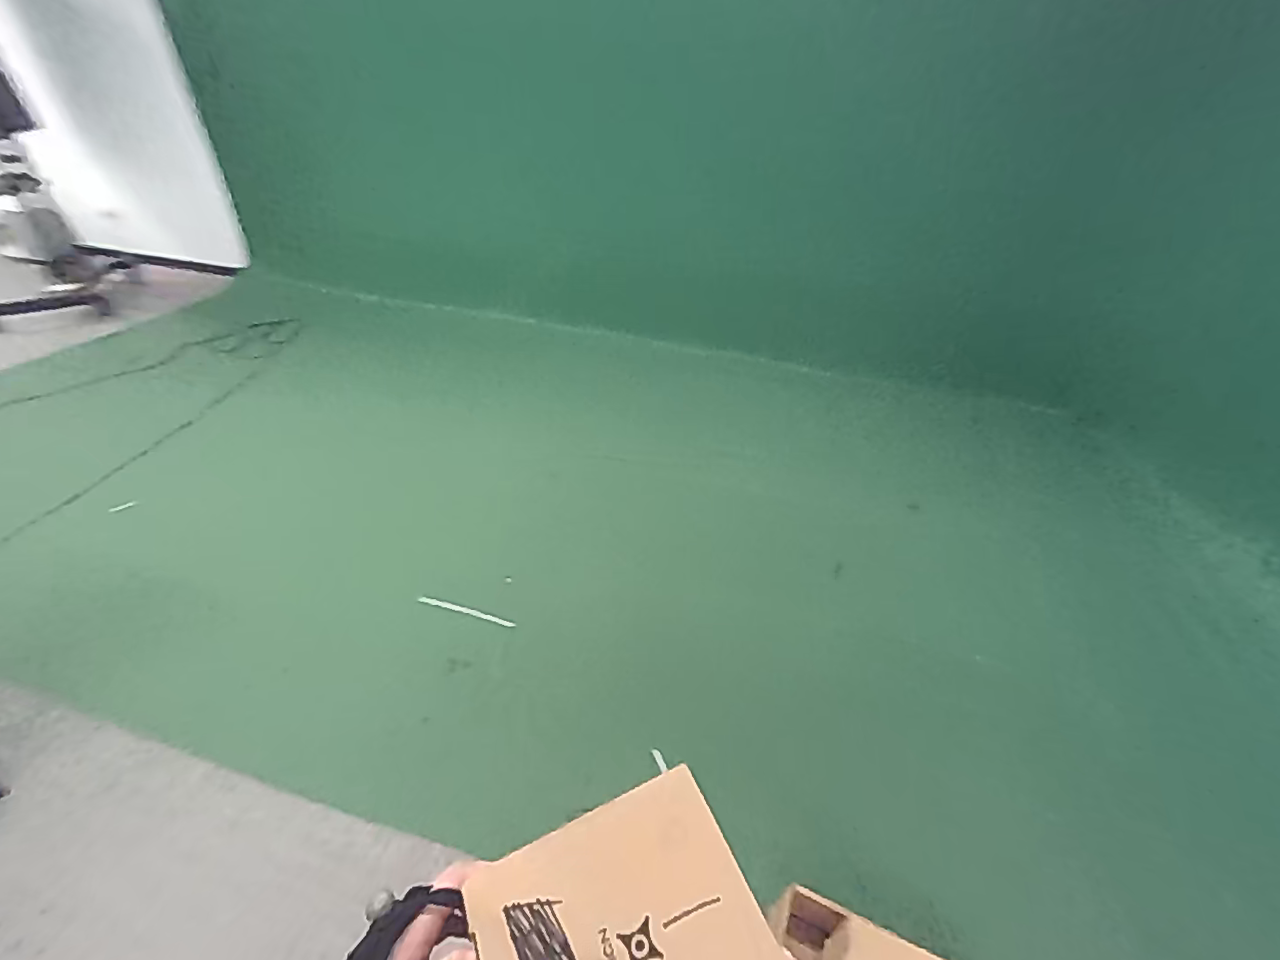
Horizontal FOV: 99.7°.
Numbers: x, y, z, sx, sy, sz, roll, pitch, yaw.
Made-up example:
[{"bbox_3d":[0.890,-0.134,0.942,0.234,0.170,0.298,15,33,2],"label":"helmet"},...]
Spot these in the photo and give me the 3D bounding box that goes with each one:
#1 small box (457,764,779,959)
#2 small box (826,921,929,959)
[{"bbox_3d":[-0.010,0.354,0.391,0.179,0.176,0.168,-19,45,-19],"label":"small box"},{"bbox_3d":[0.409,0.895,0.904,0.179,0.176,0.168,16,40,18],"label":"small box"}]
